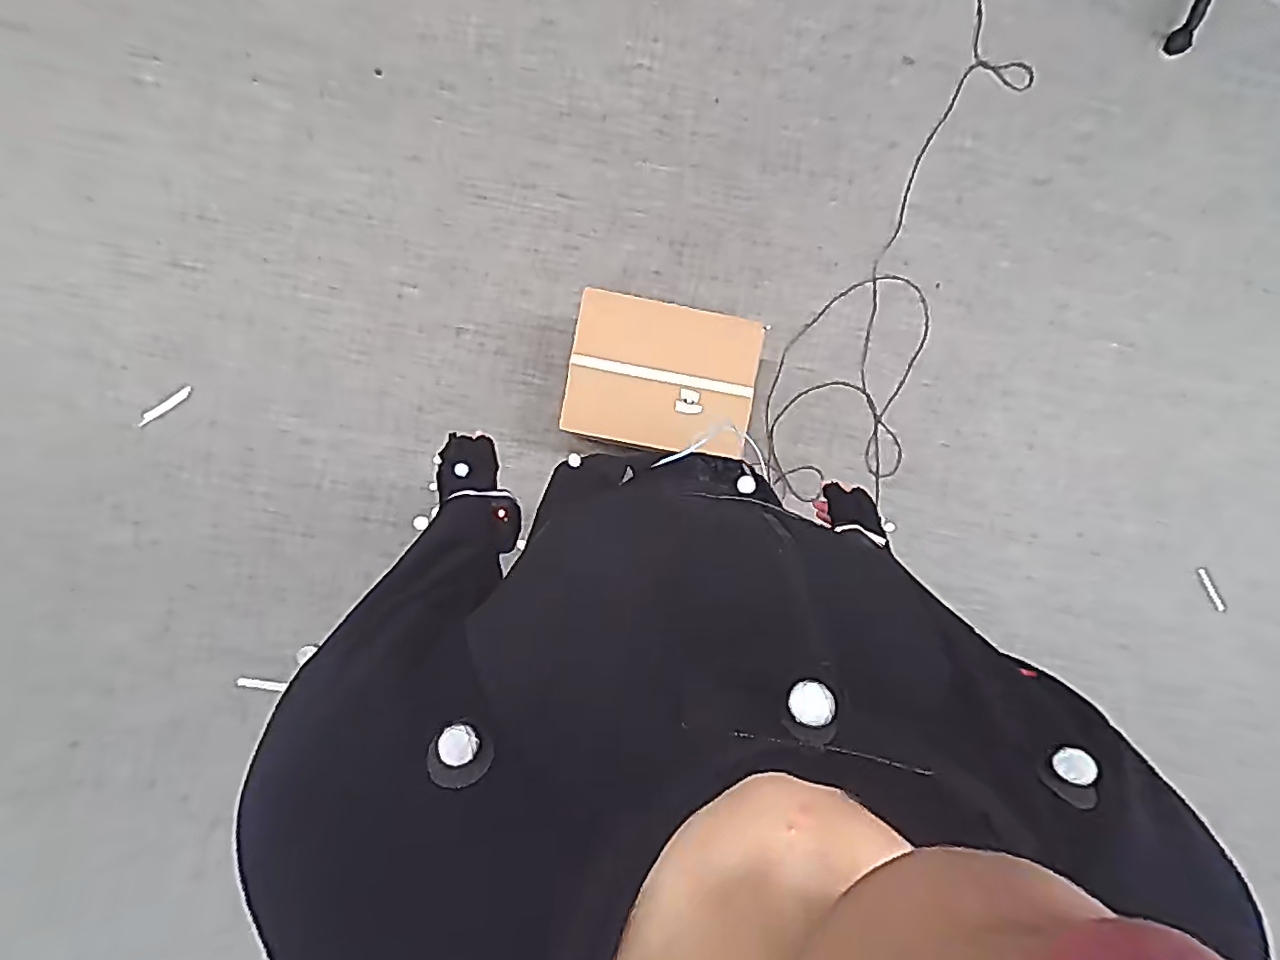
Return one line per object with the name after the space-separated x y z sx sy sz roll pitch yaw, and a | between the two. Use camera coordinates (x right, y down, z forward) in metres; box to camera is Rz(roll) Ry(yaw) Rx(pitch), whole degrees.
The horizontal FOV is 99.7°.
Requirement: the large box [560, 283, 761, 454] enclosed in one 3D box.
0.037 -0.249 1.325 0.408 0.320 0.320 11 93 -3 | large box
